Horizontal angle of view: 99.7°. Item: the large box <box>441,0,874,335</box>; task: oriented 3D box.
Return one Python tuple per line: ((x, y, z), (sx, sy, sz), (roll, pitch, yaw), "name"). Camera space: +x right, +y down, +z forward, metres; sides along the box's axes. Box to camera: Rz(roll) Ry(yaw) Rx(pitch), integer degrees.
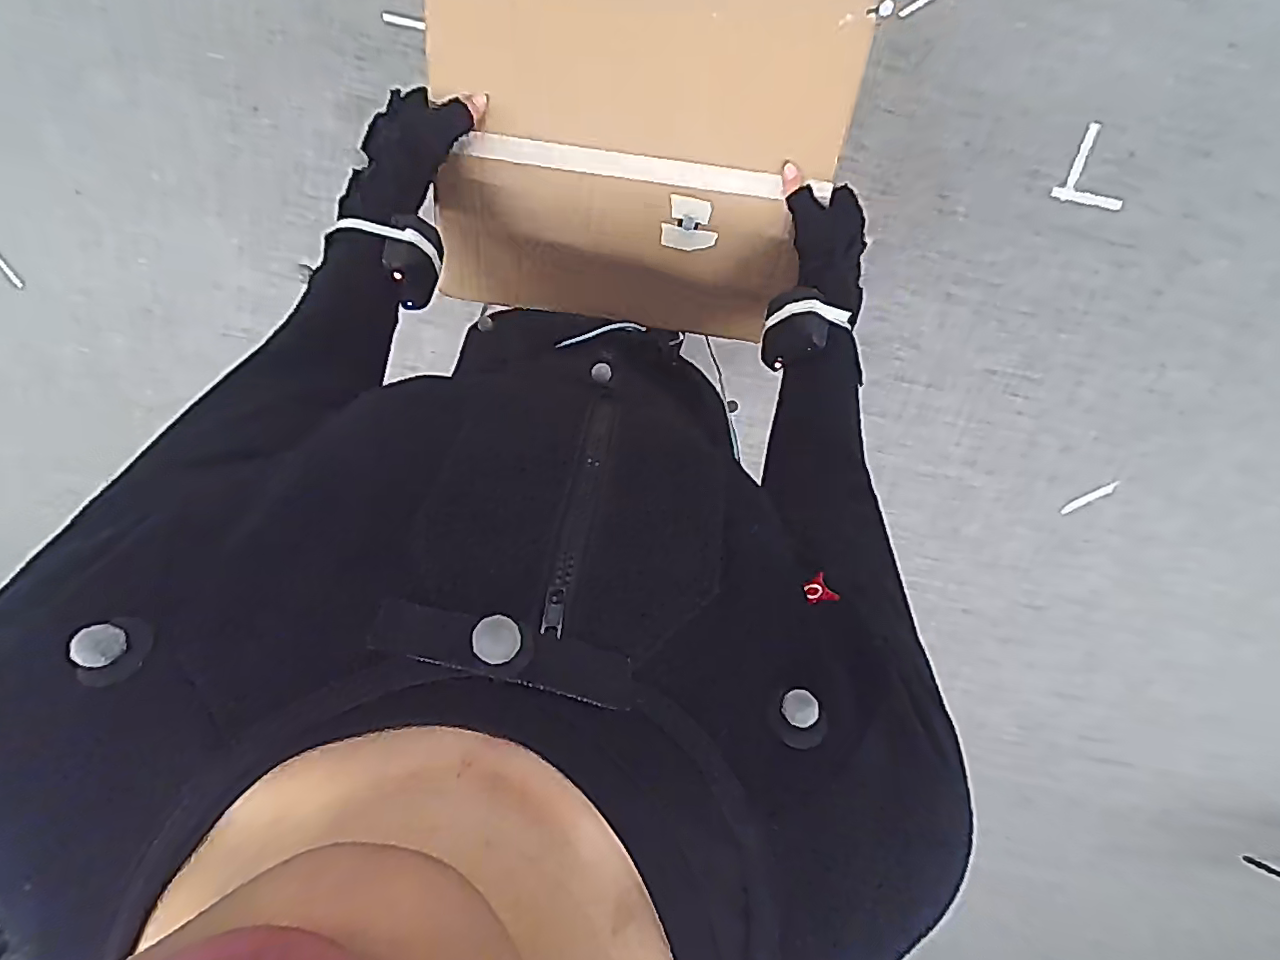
((0.004, -0.395, 0.687), (0.408, 0.320, 0.320), (8, 119, -1), "large box")
